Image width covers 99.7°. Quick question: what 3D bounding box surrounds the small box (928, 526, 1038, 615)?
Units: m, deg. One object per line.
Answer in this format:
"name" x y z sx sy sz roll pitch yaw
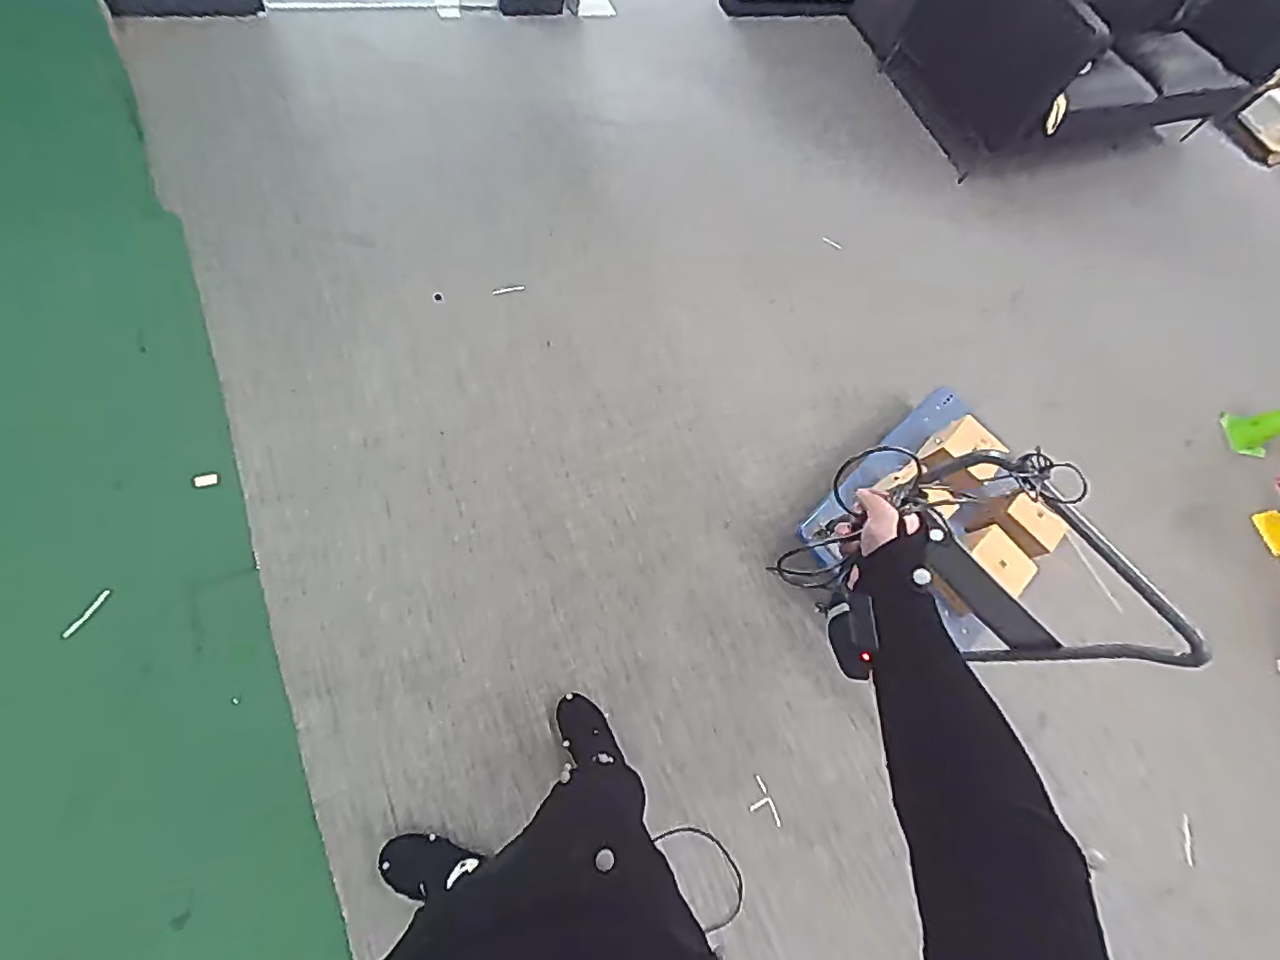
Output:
"small box" 0.969 0.261 1.541 0.179 0.176 0.168 -37 80 -23

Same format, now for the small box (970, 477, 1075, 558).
"small box" 1.149 0.126 1.636 0.179 0.176 0.168 -40 81 -23

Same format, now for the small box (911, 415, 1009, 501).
"small box" 0.981 -0.063 1.673 0.168 0.176 0.179 45 65 6
